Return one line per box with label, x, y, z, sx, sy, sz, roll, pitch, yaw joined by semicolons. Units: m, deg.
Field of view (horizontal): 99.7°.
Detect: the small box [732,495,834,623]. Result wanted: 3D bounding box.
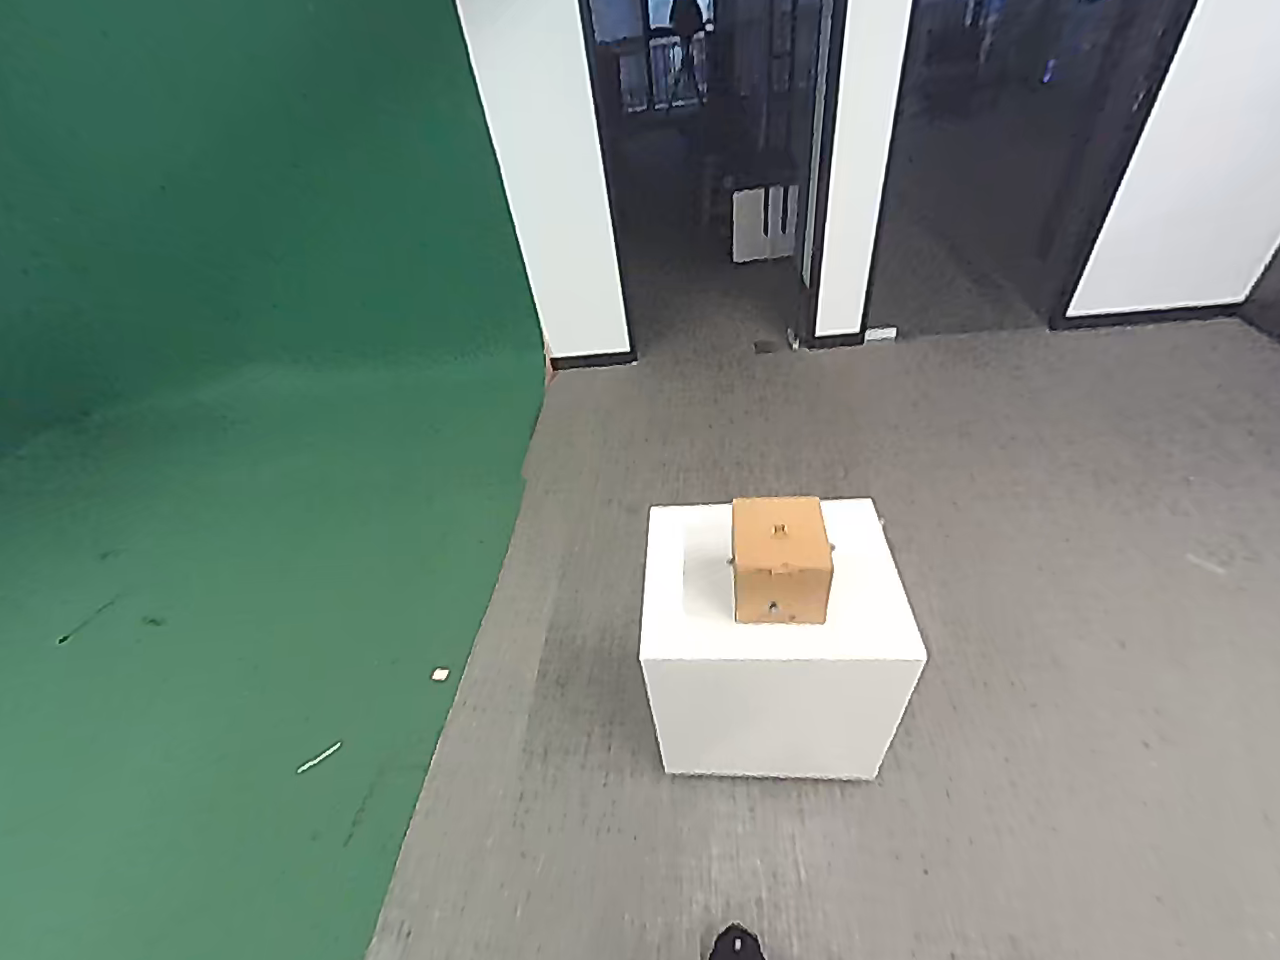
small box;0.259;0.147;1.022;0.168;0.176;0.179;-2;41;9
